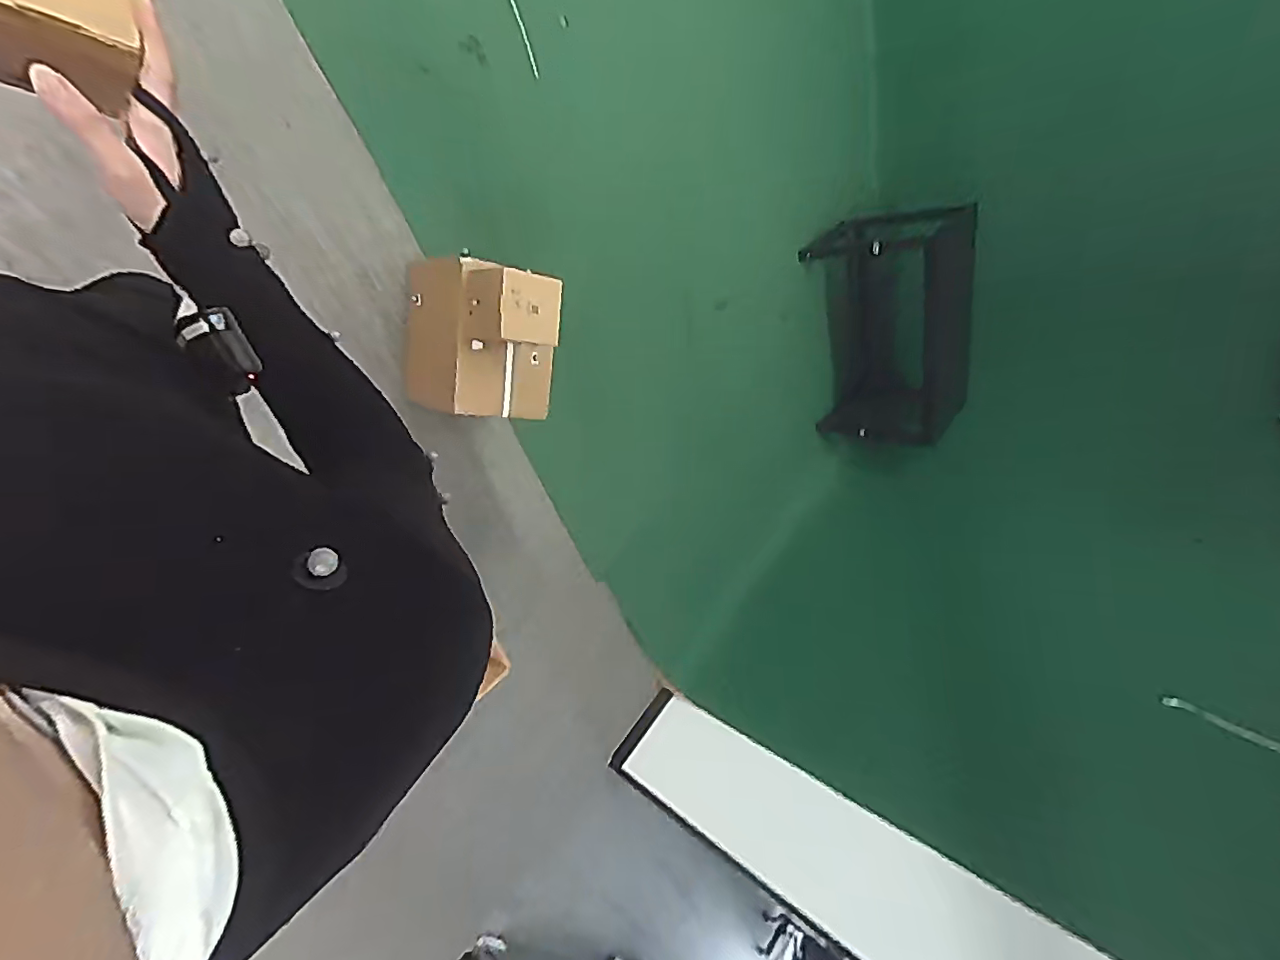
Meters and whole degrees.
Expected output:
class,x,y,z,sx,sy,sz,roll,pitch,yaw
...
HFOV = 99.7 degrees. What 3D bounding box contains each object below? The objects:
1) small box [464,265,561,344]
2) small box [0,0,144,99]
class,x,y,z,sx,sy,sz,roll,pitch,yaw
small box,-0.330,-0.450,1.394,0.179,0.176,0.168,-5,106,-45
small box,-0.463,-0.405,0.366,0.168,0.176,0.179,-7,106,-47
